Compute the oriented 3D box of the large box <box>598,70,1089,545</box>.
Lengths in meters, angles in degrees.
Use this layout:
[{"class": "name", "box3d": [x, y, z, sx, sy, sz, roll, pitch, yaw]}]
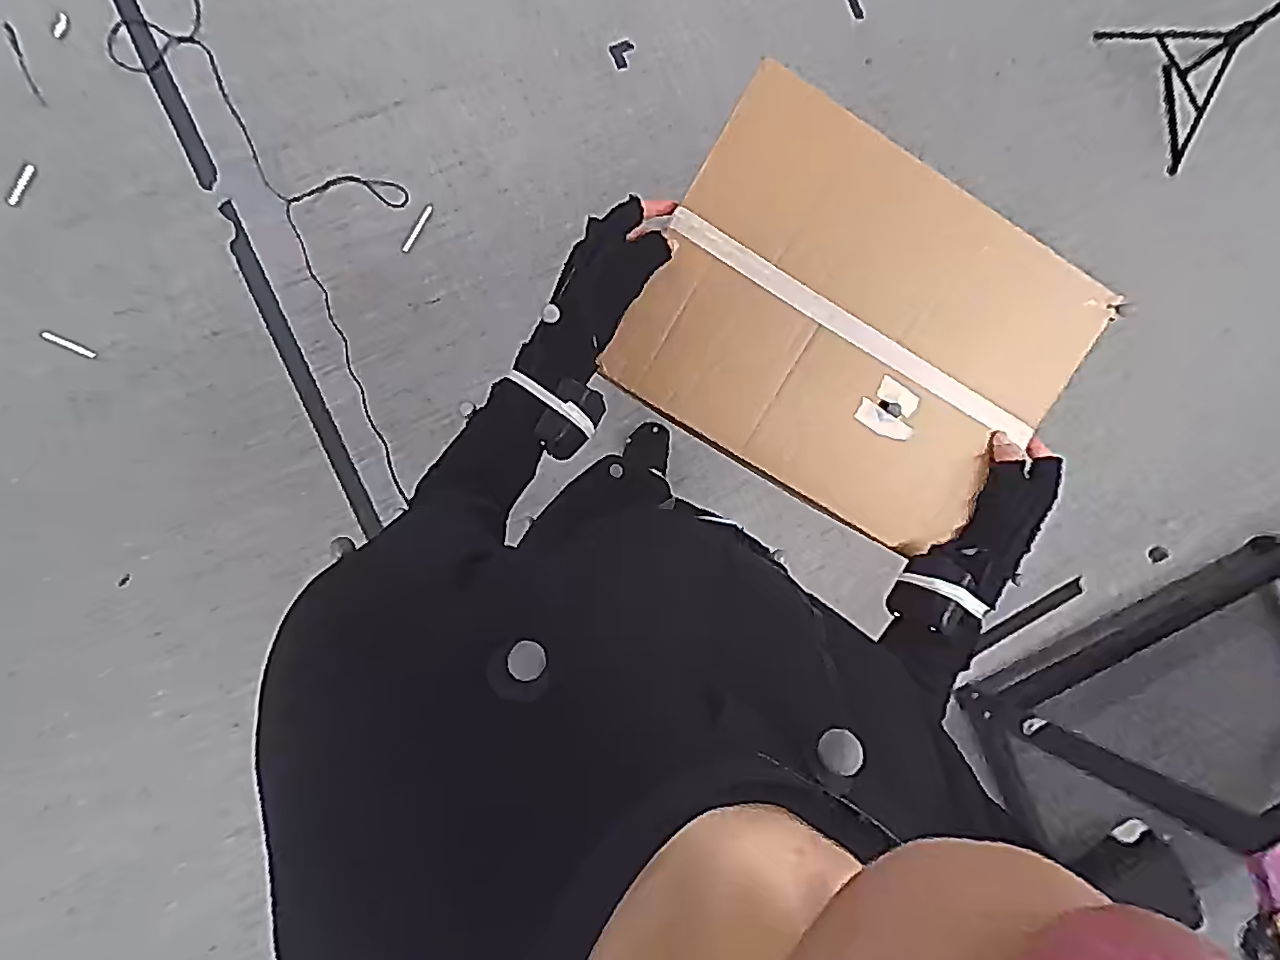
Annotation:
[{"class": "large box", "box3d": [0.195, -0.176, 0.678, 0.408, 0.320, 0.320, 30, 97, -6]}]
